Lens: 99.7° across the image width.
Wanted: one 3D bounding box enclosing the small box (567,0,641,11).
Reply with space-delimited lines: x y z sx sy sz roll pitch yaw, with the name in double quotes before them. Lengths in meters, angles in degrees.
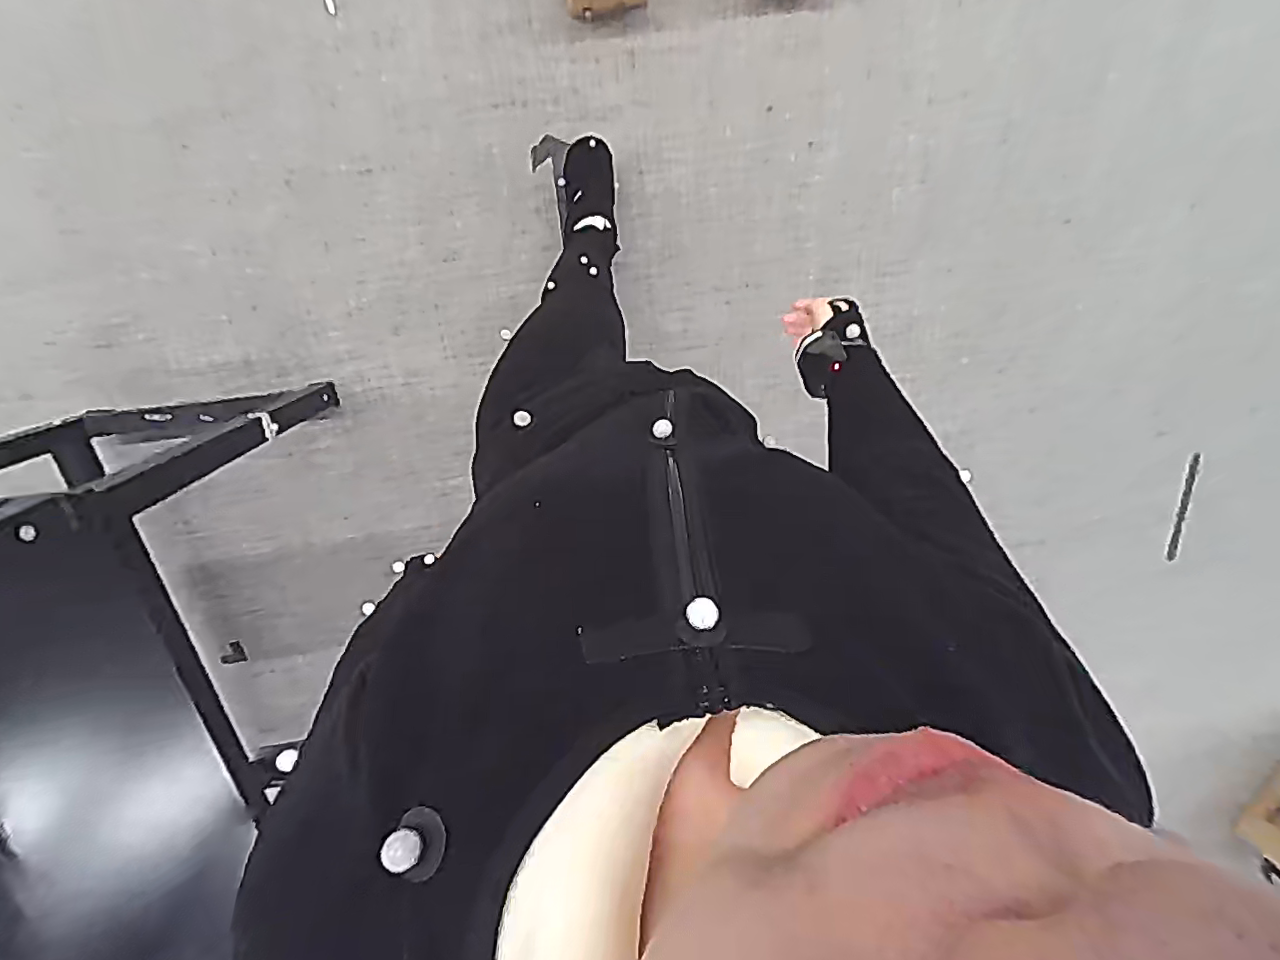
"small box" -0.073 -1.016 1.006 0.168 0.176 0.179 -13 111 -2
